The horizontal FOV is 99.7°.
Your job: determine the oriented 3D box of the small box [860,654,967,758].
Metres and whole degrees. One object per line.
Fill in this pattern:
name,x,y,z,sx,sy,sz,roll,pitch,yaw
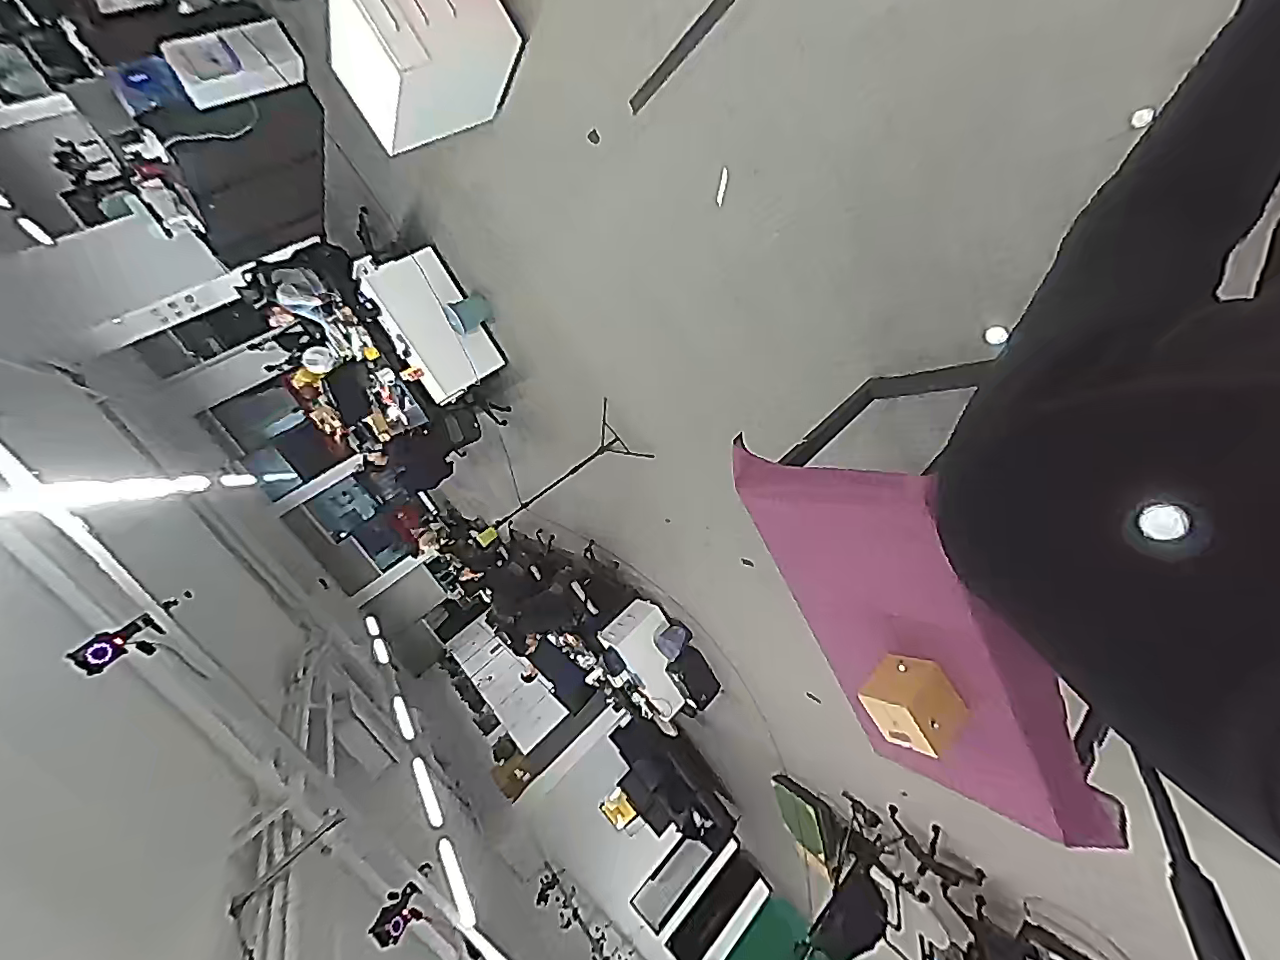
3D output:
small box,0.752,0.610,1.480,0.179,0.176,0.168,55,155,-7
